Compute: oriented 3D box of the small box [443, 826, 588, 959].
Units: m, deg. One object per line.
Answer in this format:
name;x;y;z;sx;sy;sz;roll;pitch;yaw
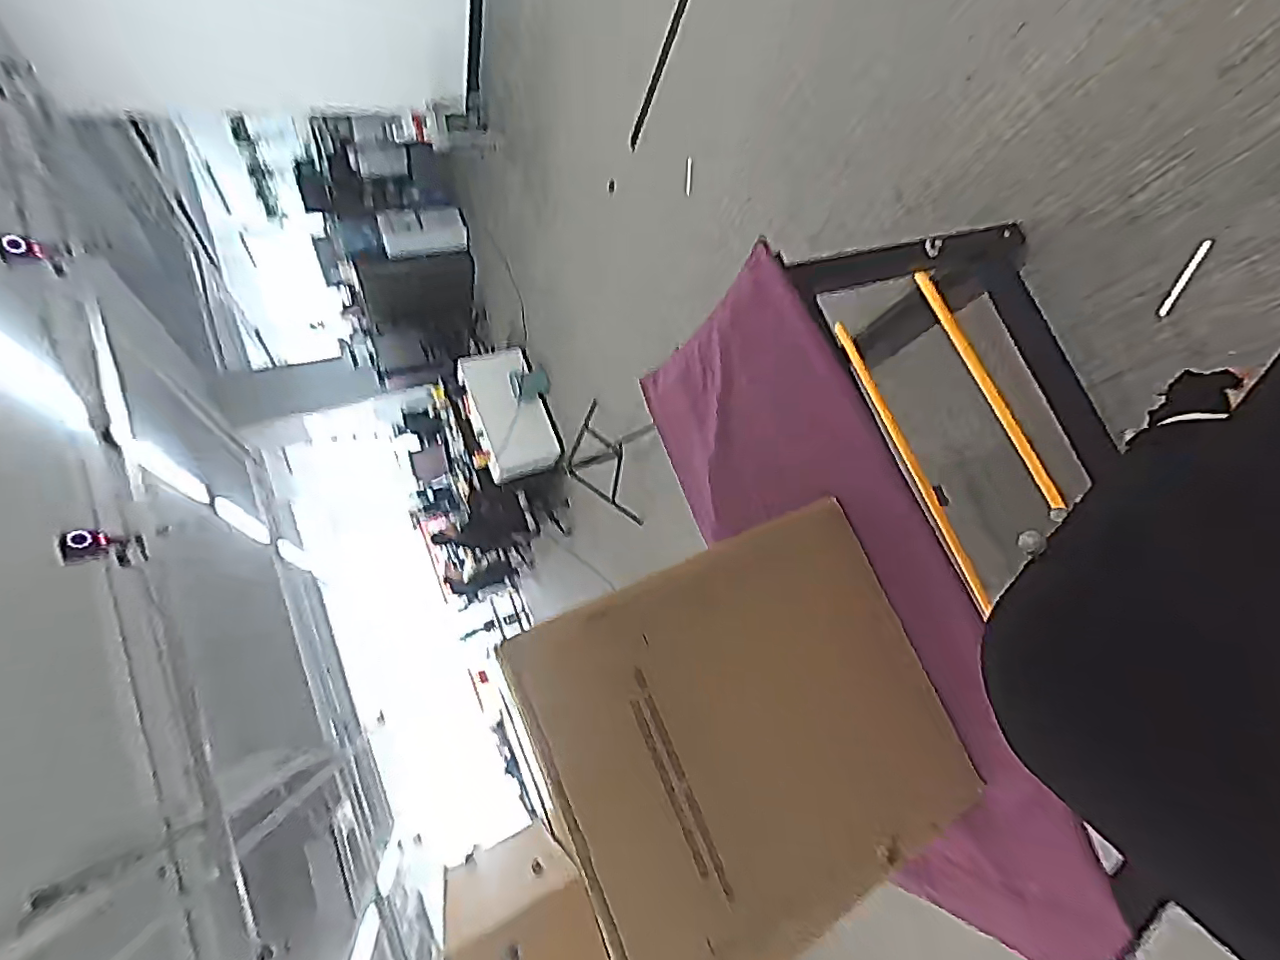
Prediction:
small box;-0.194;0.676;0.840;0.168;0.176;0.179;67;156;11
